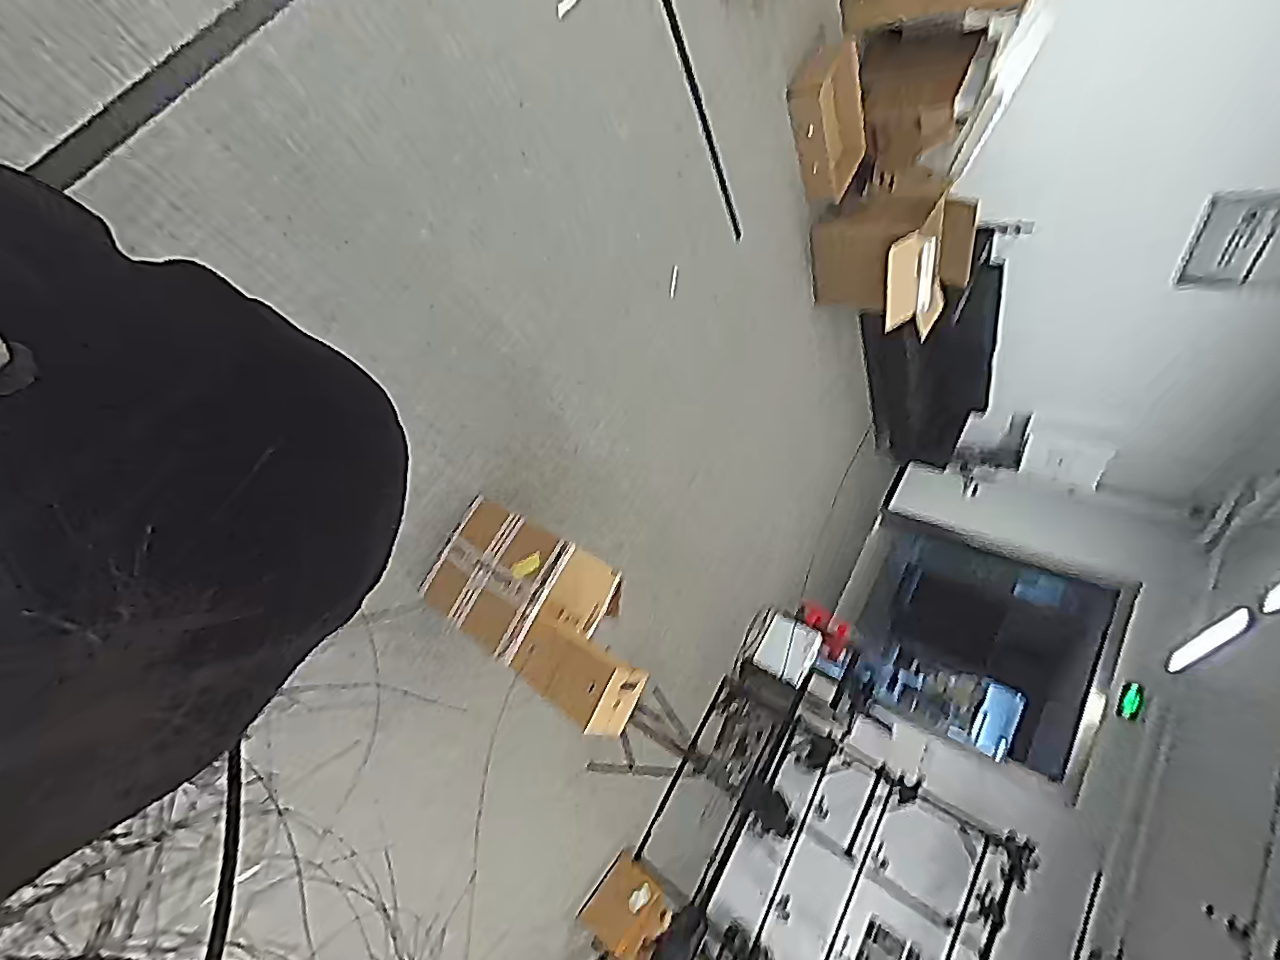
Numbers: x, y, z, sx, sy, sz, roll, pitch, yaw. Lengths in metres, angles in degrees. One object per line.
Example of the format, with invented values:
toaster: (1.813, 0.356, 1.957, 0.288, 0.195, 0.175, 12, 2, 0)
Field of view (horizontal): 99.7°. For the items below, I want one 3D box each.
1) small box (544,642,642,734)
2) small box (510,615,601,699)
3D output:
small box: (-0.130, 0.562, 1.467, 0.168, 0.176, 0.179, 37, 77, -49)
small box: (-0.249, 0.522, 1.575, 0.168, 0.176, 0.179, 37, 77, -50)
